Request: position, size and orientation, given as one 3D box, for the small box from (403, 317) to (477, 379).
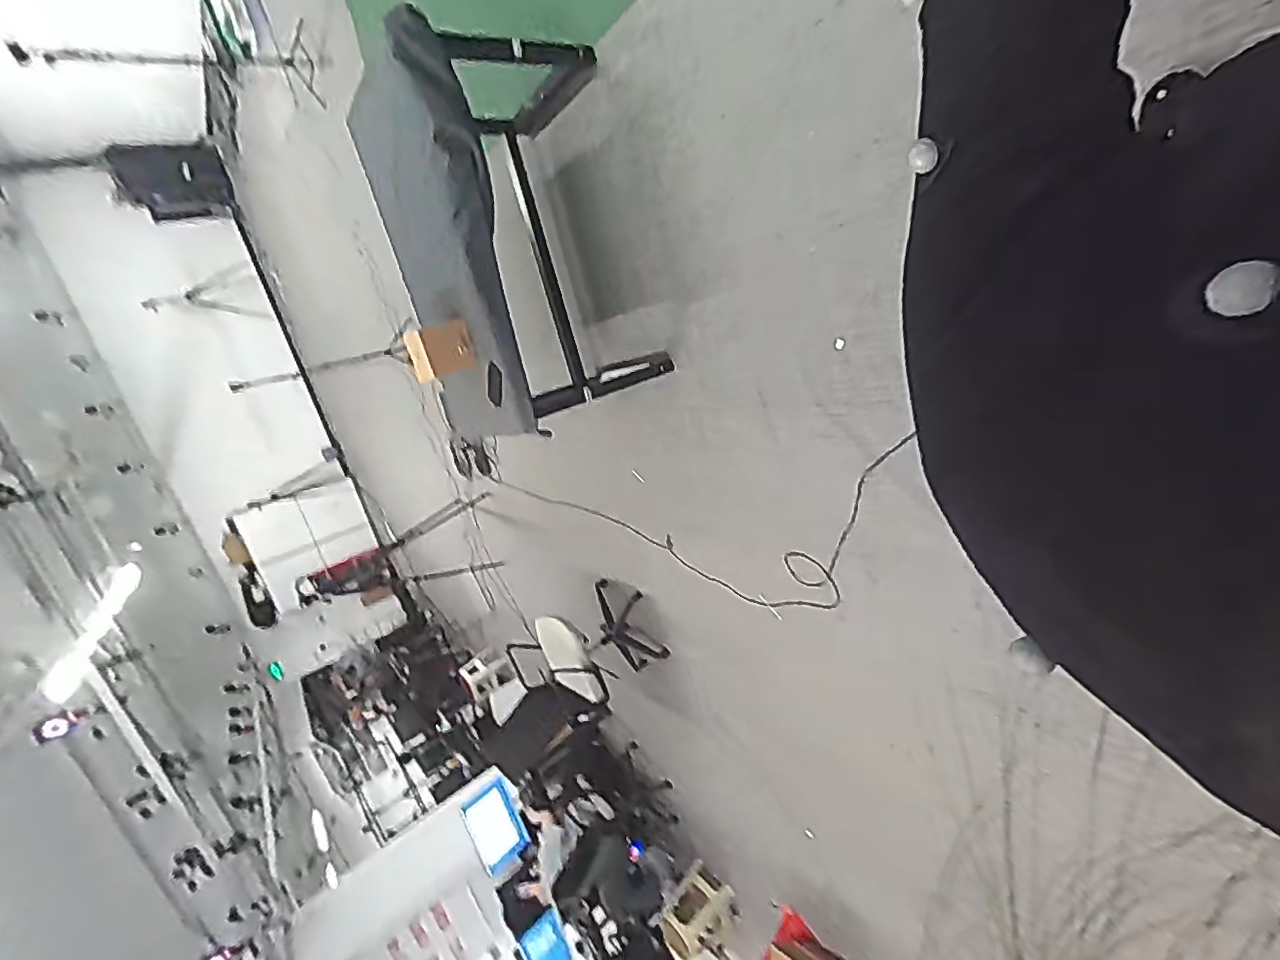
[{"bbox_3d":[-0.687,-0.454,1.866,0.179,0.176,0.168,5,115,51],"label":"small box"}]
